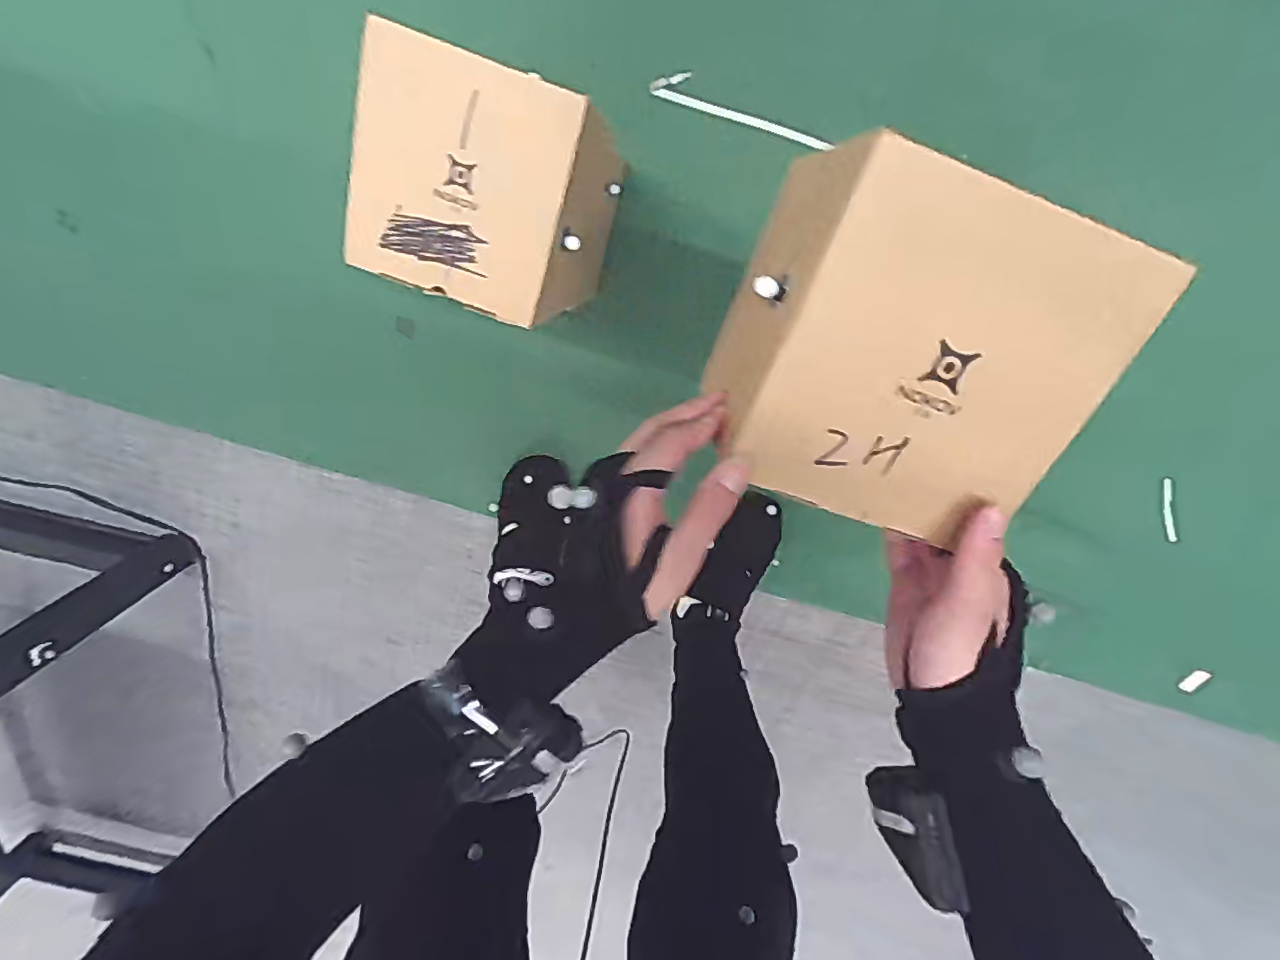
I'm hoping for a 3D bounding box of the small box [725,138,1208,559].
[{"bbox_3d":[0.164,-0.085,0.349,0.168,0.176,0.179,19,116,-7],"label":"small box"}]
